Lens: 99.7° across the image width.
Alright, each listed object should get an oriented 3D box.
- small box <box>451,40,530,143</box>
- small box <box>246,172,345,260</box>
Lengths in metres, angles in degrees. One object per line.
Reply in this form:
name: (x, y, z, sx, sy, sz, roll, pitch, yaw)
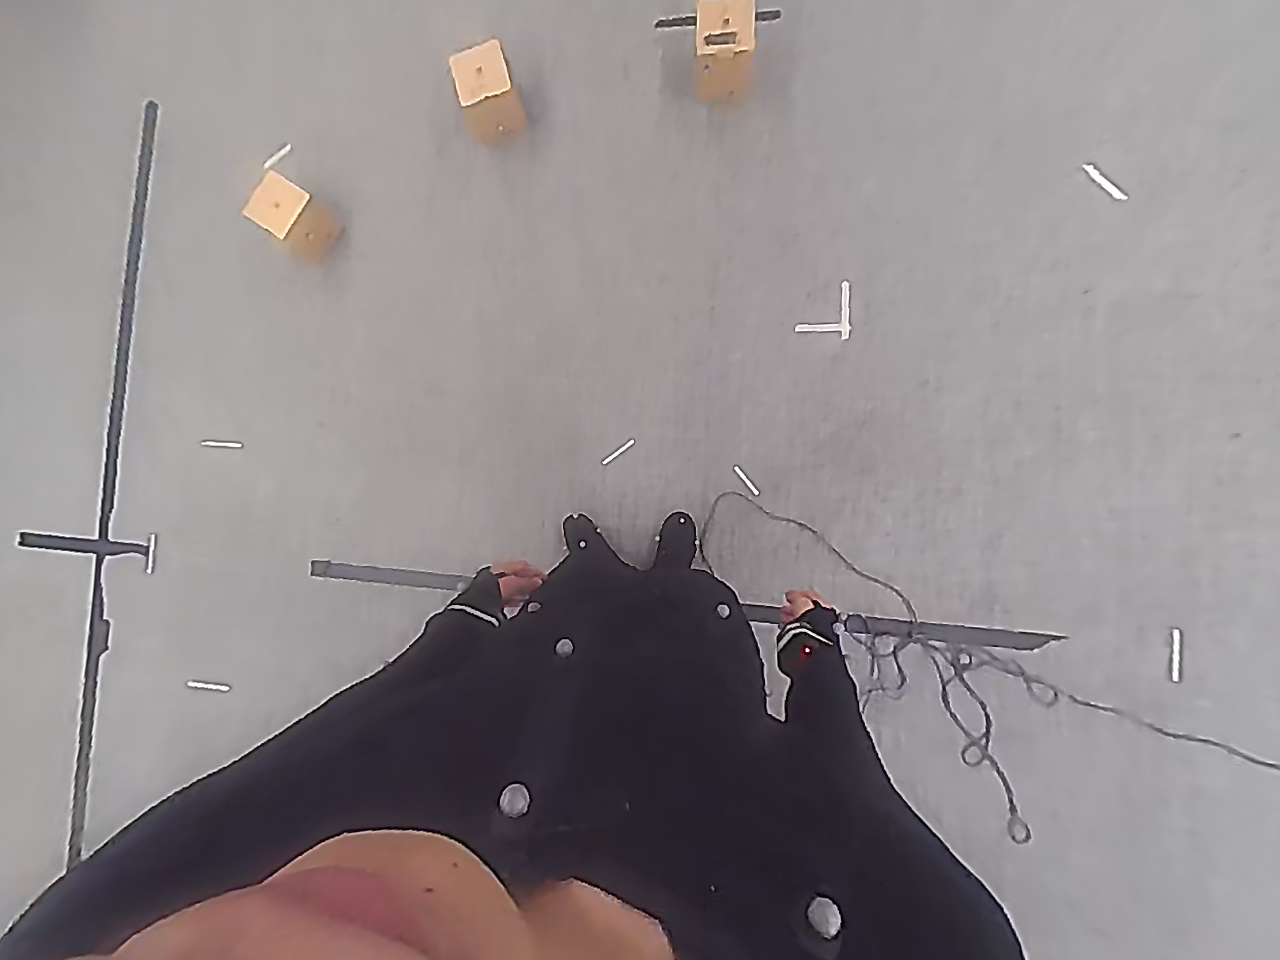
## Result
small box: (-0.463, -1.212, 1.698, 0.168, 0.176, 0.179, -16, 85, 6)
small box: (-1.107, -0.846, 1.754, 0.179, 0.176, 0.168, 34, 92, 8)
